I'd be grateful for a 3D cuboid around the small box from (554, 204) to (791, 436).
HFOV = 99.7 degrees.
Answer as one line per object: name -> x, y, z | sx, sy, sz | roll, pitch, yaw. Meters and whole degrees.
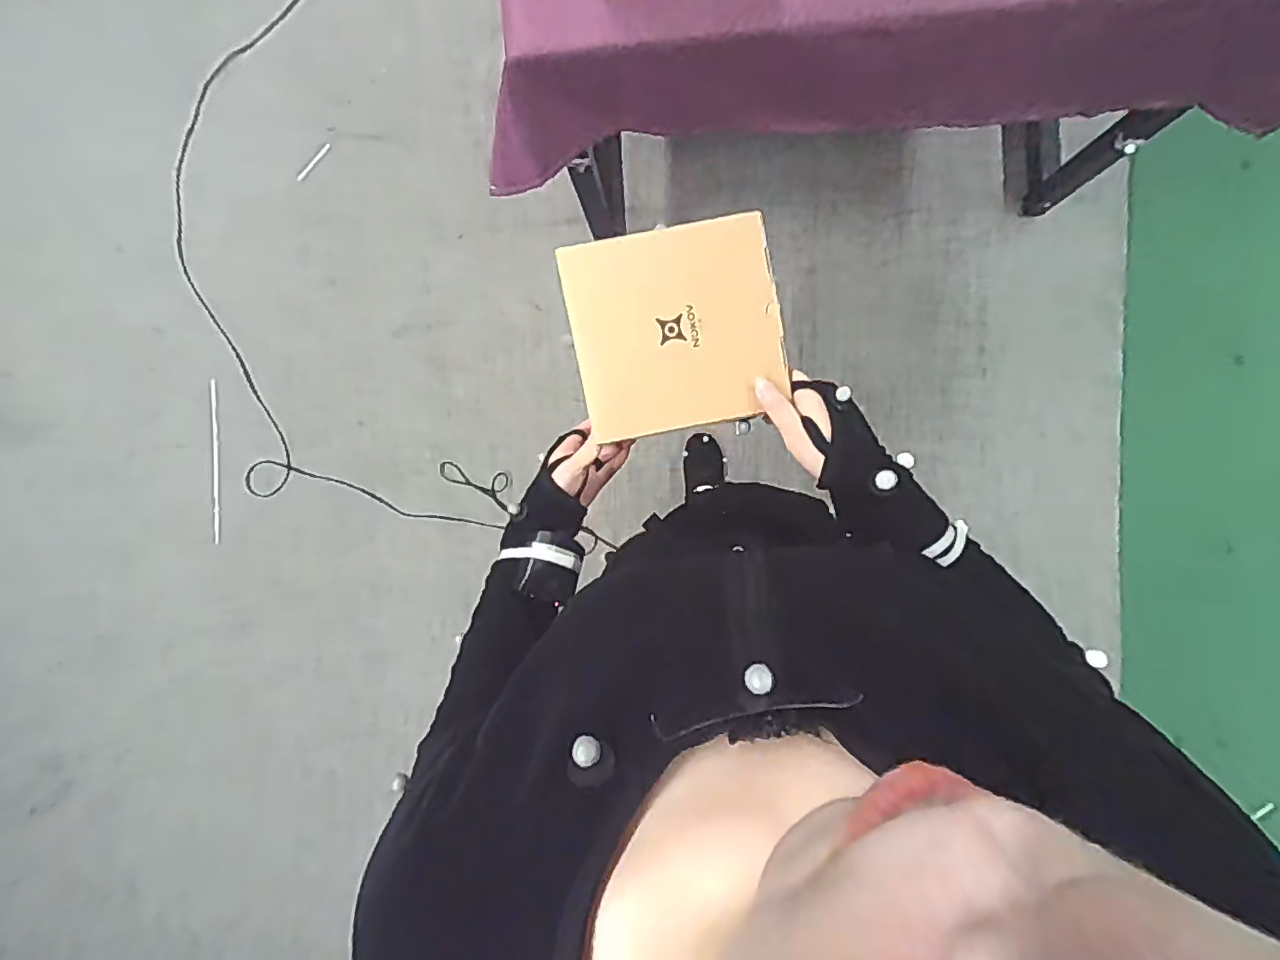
small box -> 0.026, -0.139, 0.530 | 0.179, 0.176, 0.168 | -12, 95, -2
